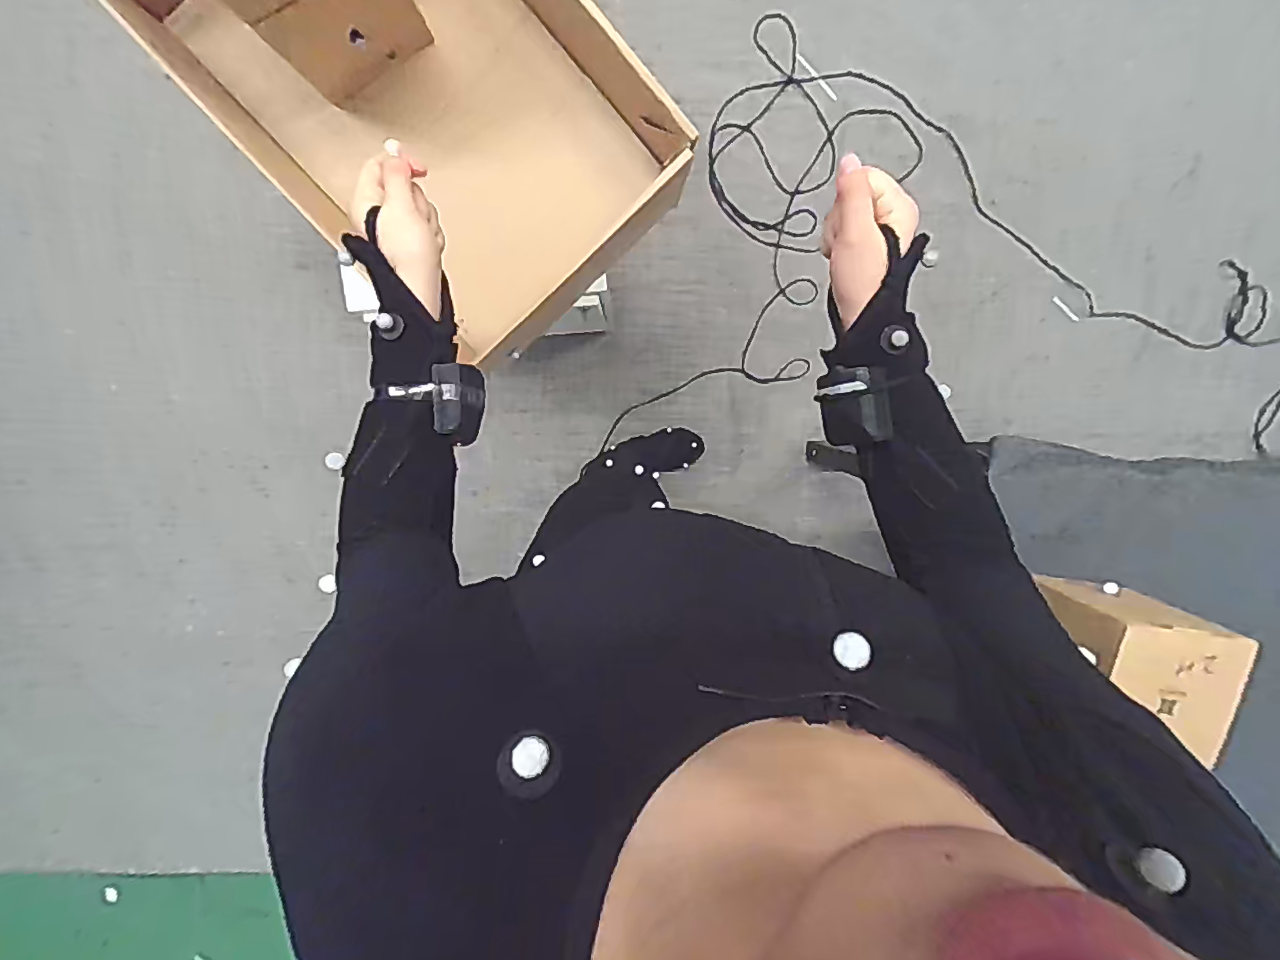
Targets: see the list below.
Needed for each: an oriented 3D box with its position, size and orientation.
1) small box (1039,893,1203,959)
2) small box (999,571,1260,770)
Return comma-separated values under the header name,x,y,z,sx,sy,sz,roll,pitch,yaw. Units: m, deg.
name,x,y,z,sx,sy,sz,roll,pitch,yaw
small box,0.585,0.626,0.601,0.168,0.176,0.179,34,96,-7
small box,0.613,0.237,0.706,0.168,0.176,0.179,9,98,-3
